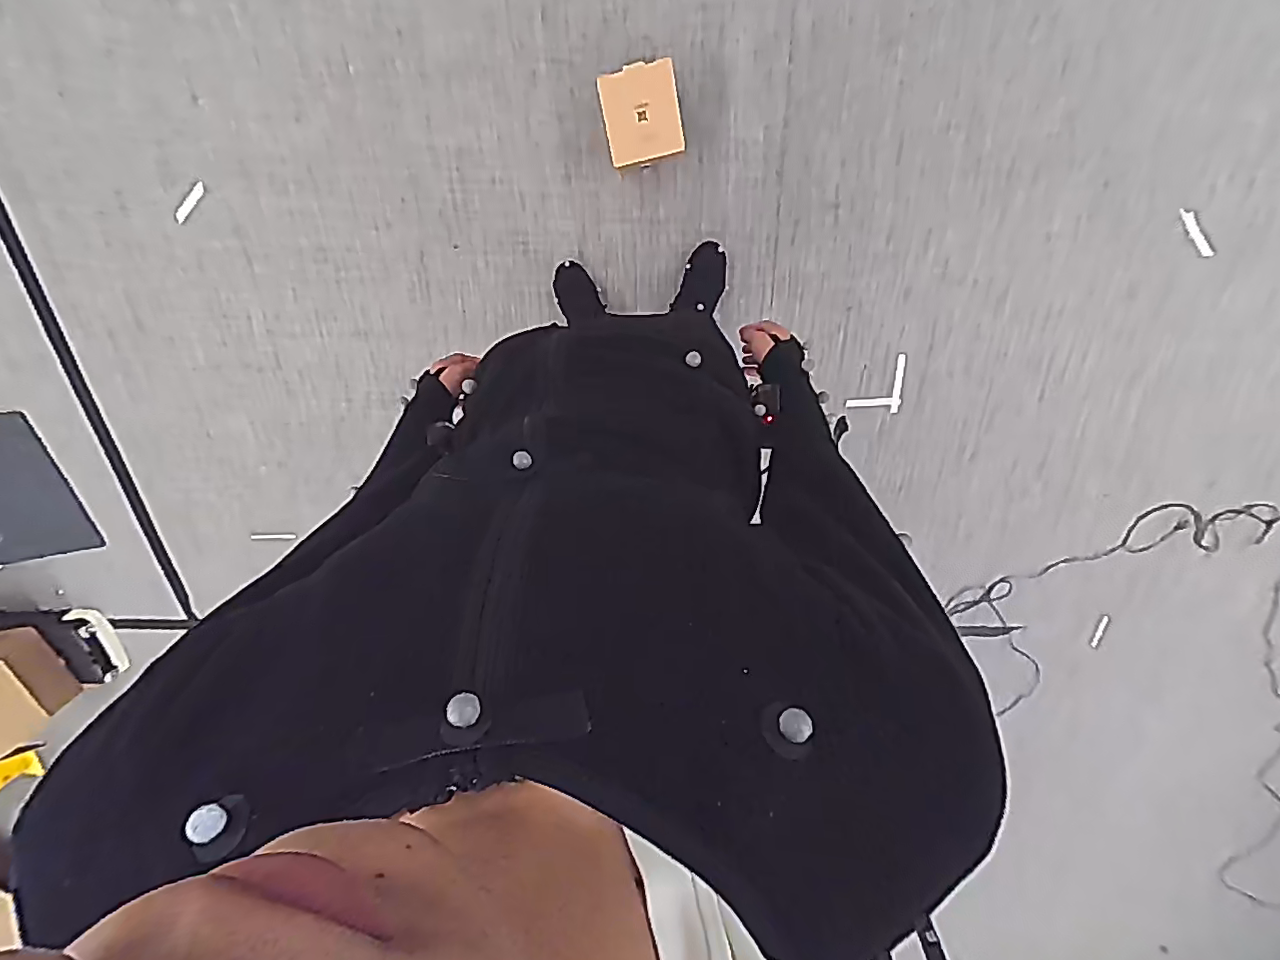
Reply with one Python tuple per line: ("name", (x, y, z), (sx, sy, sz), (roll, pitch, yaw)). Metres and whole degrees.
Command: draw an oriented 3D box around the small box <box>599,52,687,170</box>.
("small box", (0.010, -0.827, 1.229), (0.168, 0.176, 0.179), (-10, 115, 7))
